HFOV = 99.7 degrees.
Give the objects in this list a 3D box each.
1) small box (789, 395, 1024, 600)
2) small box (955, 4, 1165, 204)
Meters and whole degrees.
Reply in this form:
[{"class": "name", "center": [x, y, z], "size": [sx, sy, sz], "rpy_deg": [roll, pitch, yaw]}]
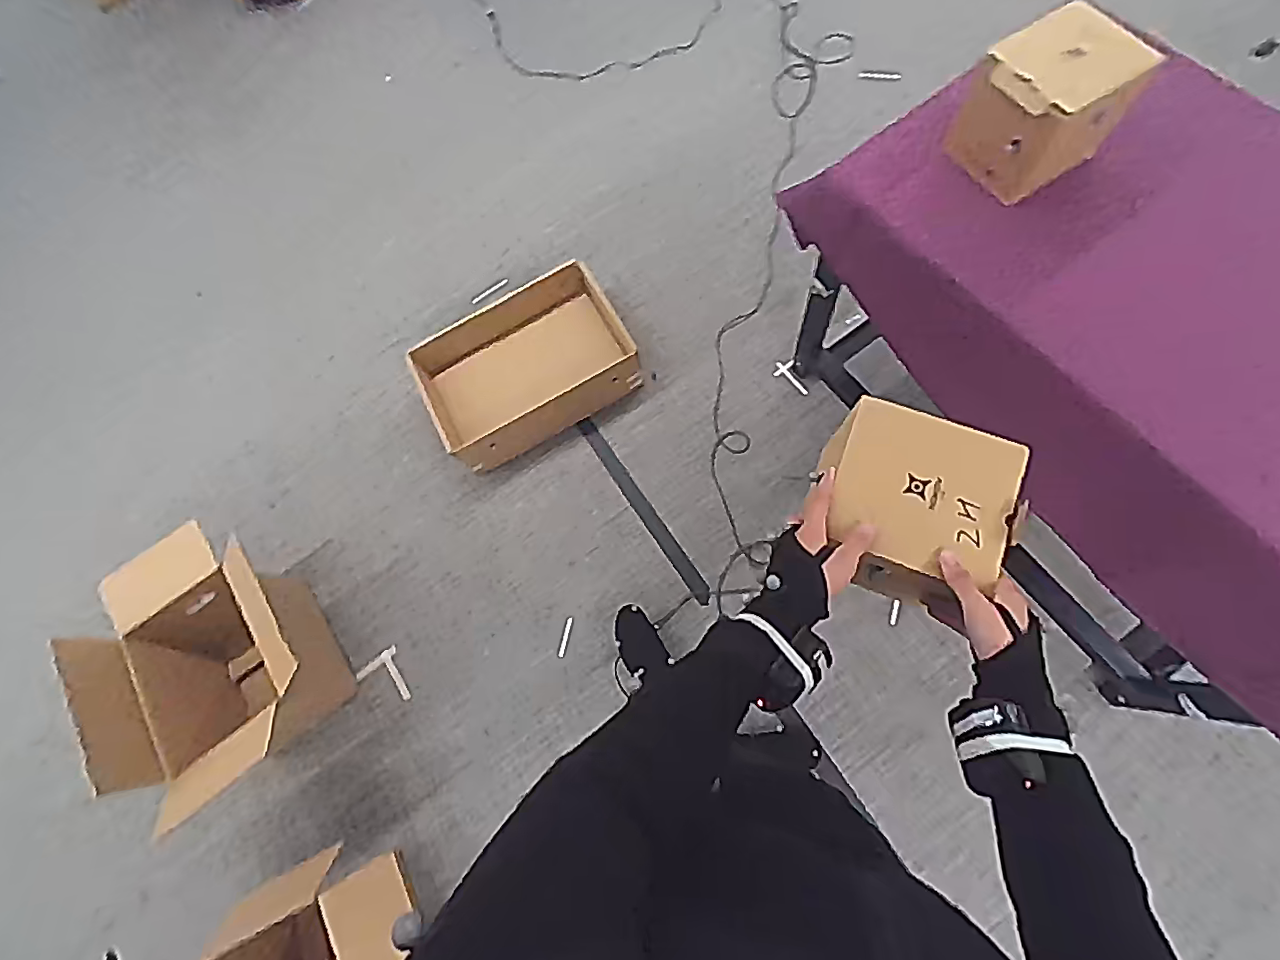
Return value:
[{"class": "small box", "center": [0.288, 0.031, 0.624], "size": [0.179, 0.176, 0.168], "rpy_deg": [21, 77, 10]}, {"class": "small box", "center": [0.642, -0.586, 0.862], "size": [0.179, 0.176, 0.168], "rpy_deg": [-31, 72, -3]}]
